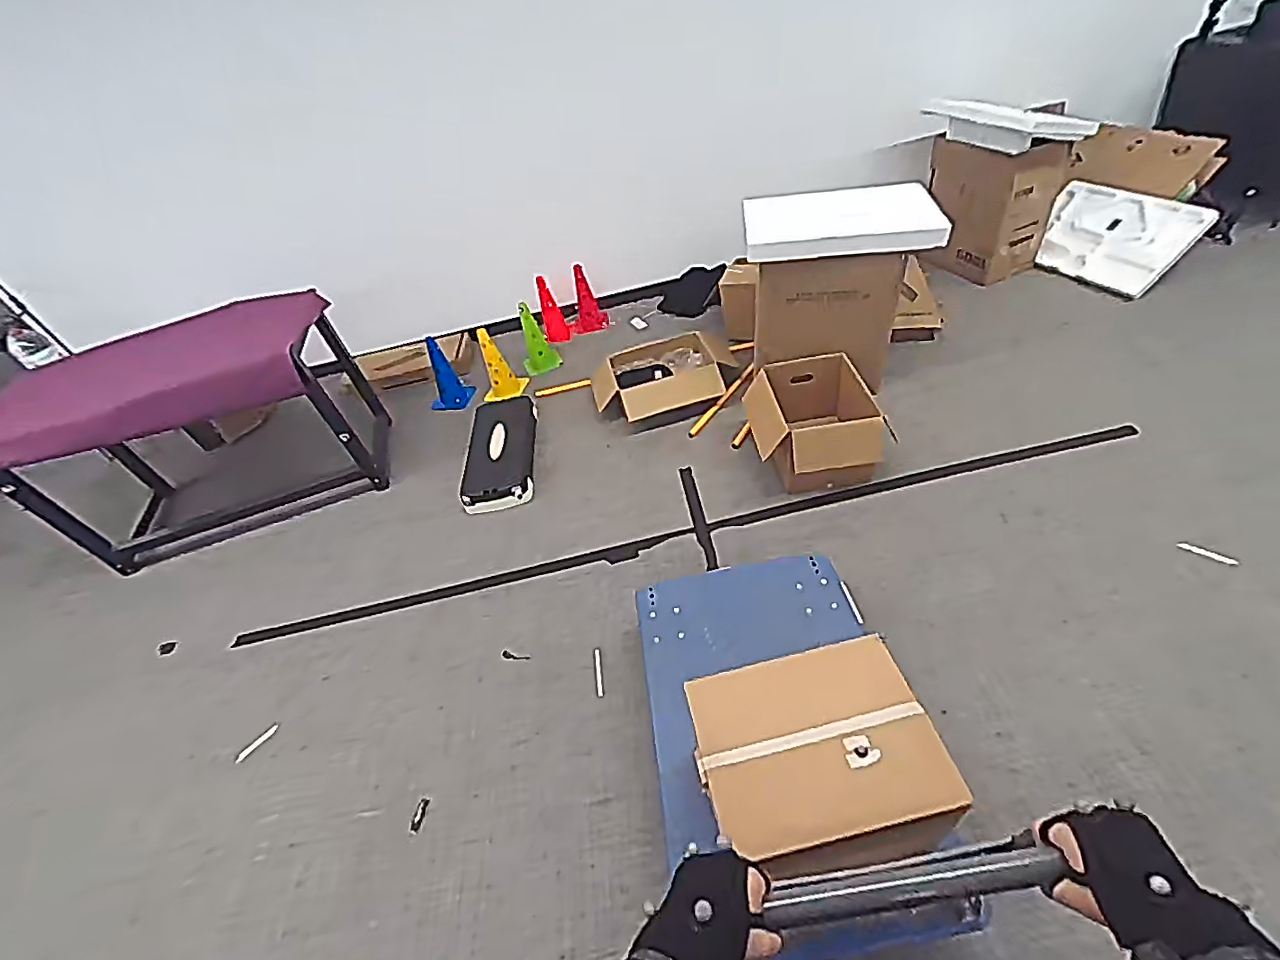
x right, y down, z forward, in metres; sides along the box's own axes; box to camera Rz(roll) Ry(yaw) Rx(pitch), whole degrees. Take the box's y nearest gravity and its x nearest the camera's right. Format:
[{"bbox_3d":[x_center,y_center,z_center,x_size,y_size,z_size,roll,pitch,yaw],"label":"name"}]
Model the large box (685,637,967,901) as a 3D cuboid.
[{"bbox_3d":[0.330,0.569,1.069,0.408,0.320,0.320,-13,44,-2],"label":"large box"}]
